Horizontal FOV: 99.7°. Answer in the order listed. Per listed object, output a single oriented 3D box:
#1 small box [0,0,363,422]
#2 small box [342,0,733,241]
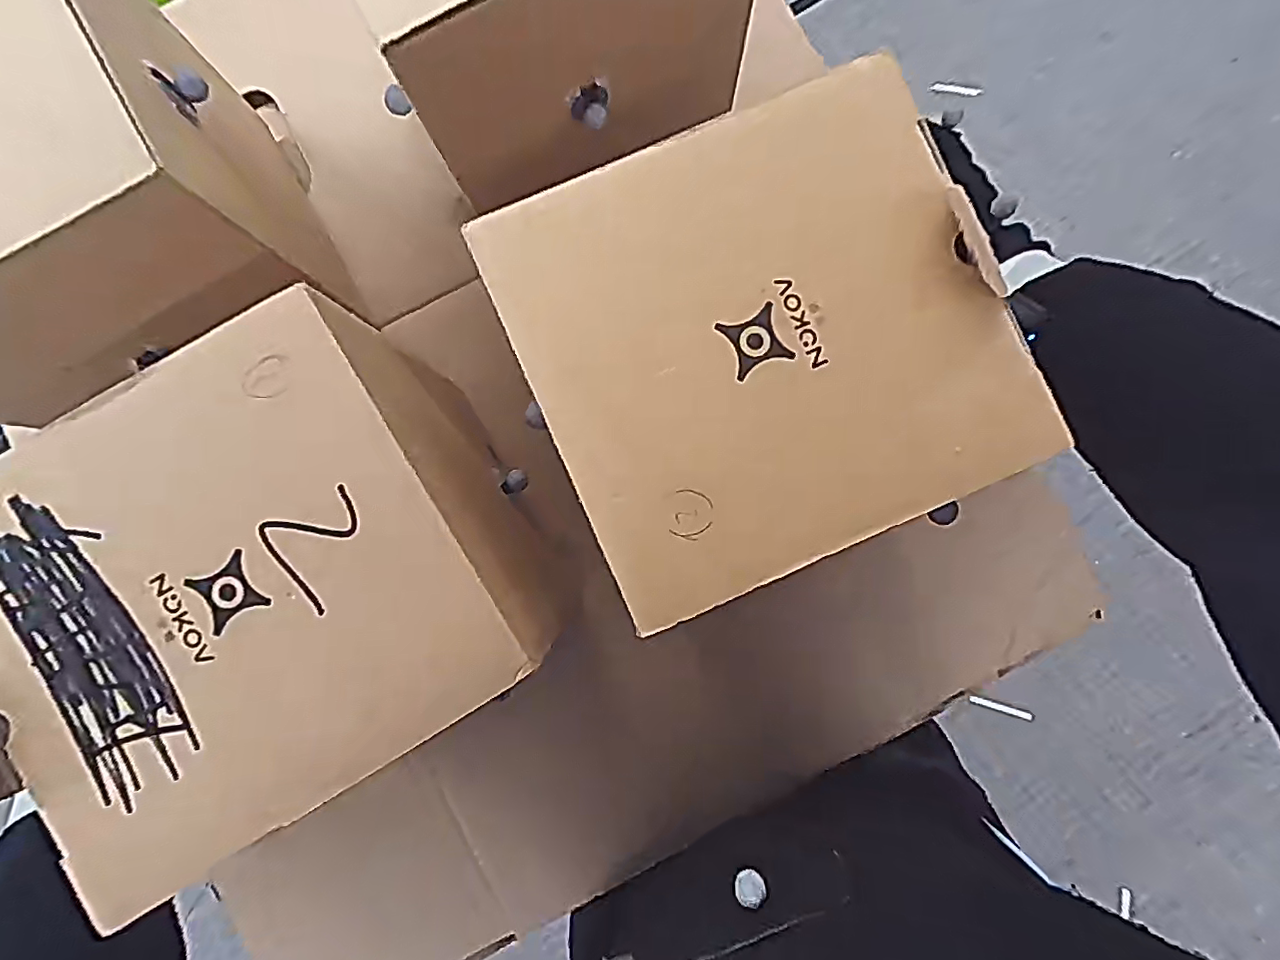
[{"bbox_3d":[-0.293,-0.145,0.293,0.168,0.176,0.179,-29,85,-1],"label":"small box"},{"bbox_3d":[-0.061,-0.271,0.294,0.179,0.176,0.168,-26,86,1],"label":"small box"}]
